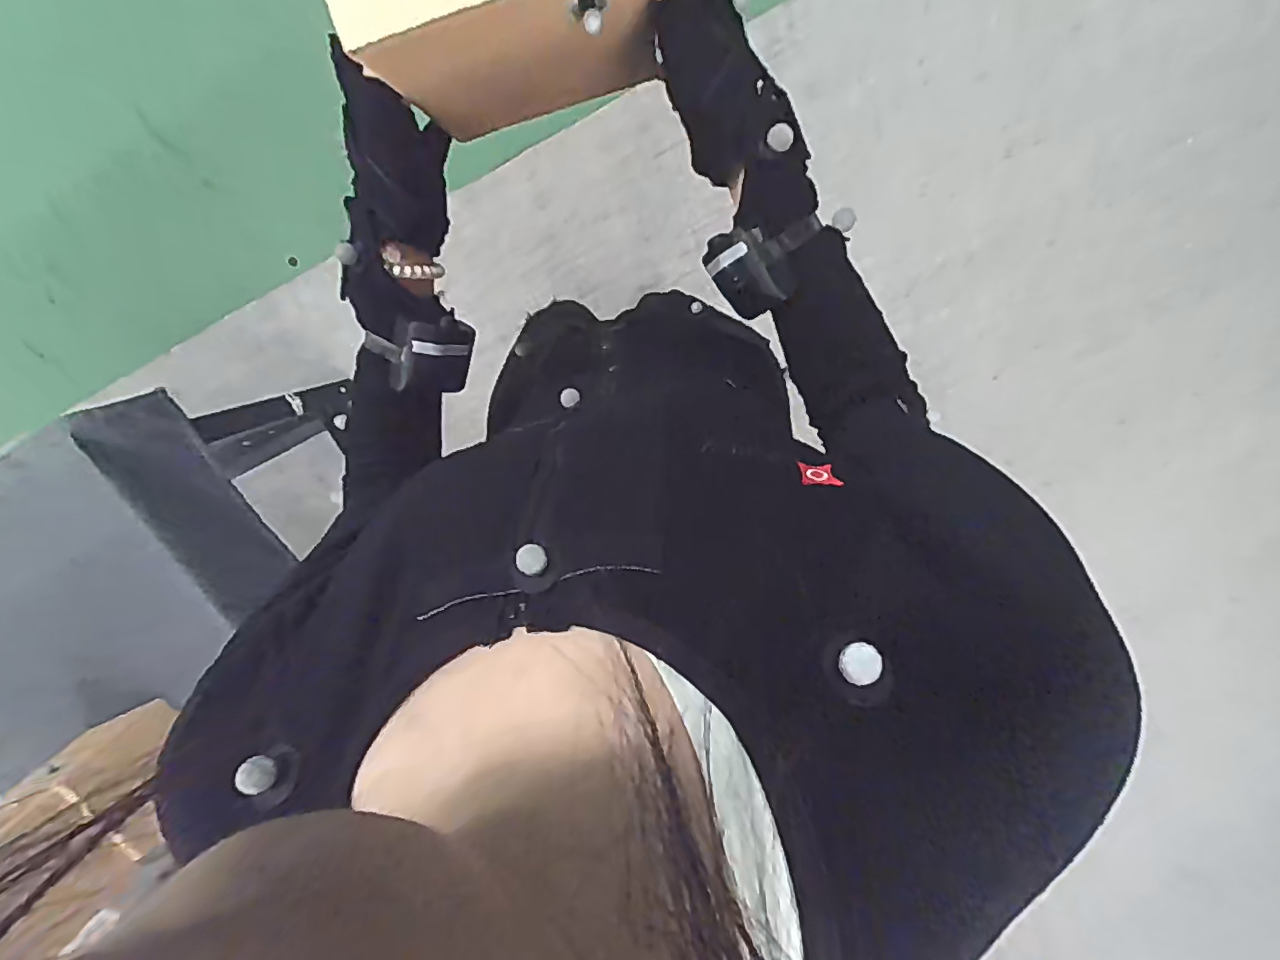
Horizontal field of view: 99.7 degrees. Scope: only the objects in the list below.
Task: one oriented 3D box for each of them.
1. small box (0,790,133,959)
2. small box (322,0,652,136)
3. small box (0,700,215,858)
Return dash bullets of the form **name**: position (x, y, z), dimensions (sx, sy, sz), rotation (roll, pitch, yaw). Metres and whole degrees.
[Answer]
- **small box**: position (-0.849, 0.556, 0.713), dimensions (0.179, 0.176, 0.168), rotation (-26, 106, 10)
- **small box**: position (-0.096, -0.349, 0.338), dimensions (0.179, 0.176, 0.168), rotation (-15, 106, 6)
- **small box**: position (-0.836, 0.486, 0.862), dimensions (0.179, 0.176, 0.168), rotation (-24, 106, 11)
